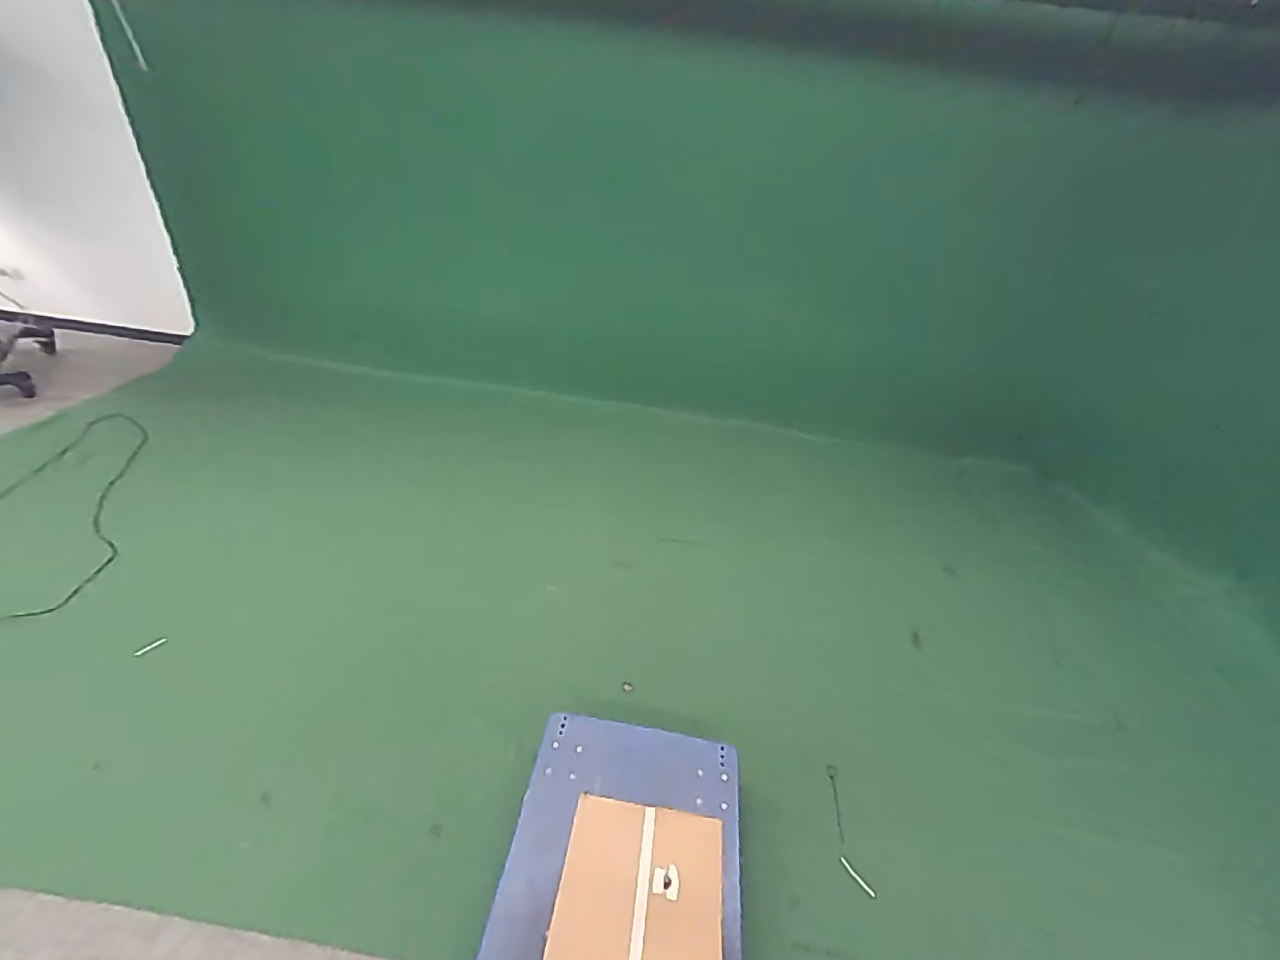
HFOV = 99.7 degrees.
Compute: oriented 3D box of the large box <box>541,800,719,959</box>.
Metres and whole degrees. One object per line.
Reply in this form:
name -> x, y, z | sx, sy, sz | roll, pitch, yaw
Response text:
large box -> -0.024, 0.941, 1.069 | 0.320, 0.320, 0.408 | 10, 31, 2
